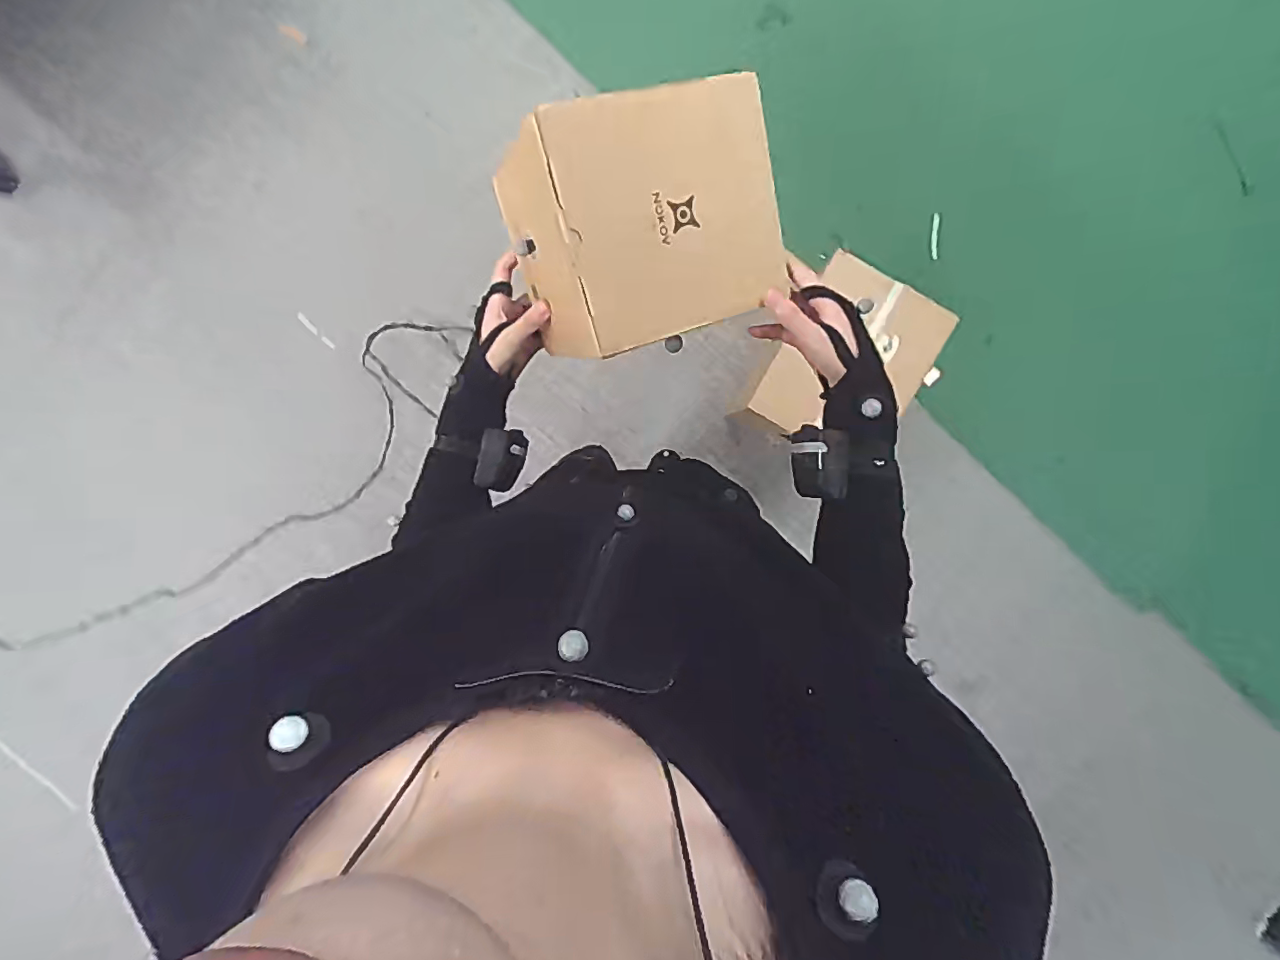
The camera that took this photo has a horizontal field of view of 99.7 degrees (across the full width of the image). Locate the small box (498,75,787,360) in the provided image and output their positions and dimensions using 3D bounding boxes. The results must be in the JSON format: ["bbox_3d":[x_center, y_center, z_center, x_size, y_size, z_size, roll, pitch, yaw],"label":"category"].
[{"bbox_3d":[-0.005,-0.210,0.468,0.179,0.176,0.168,-23,110,-16],"label":"small box"}]

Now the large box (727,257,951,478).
[{"bbox_3d":[0.460,-0.249,1.343,0.320,0.320,0.408,30,92,-2],"label":"large box"}]
